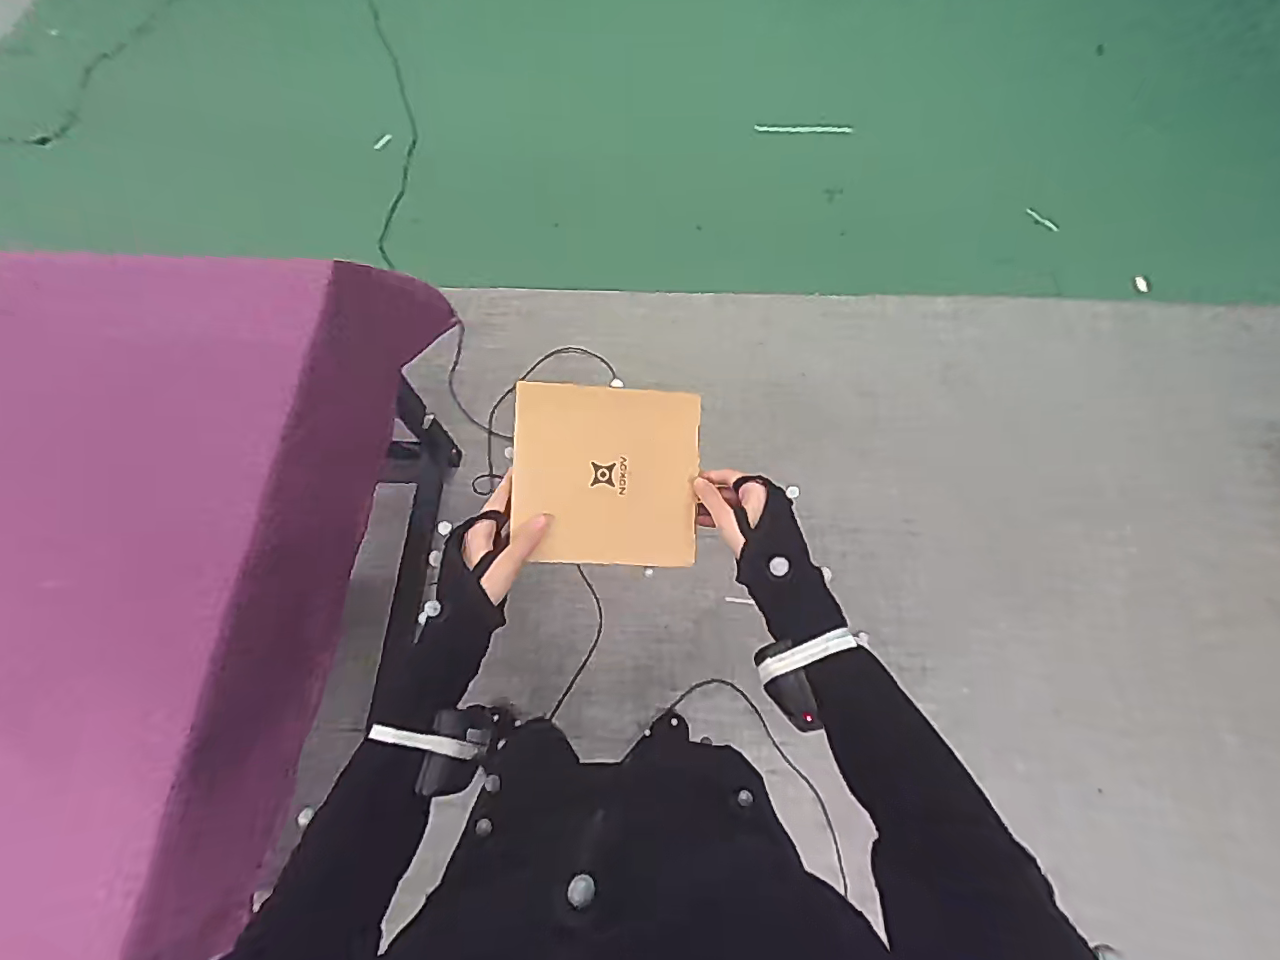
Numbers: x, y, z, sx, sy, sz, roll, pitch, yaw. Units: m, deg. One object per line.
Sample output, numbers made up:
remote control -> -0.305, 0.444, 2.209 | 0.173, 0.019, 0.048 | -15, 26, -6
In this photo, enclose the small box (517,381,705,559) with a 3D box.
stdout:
small box -> -0.037, -0.003, 0.596 | 0.179, 0.176, 0.168 | 3, 86, -9
